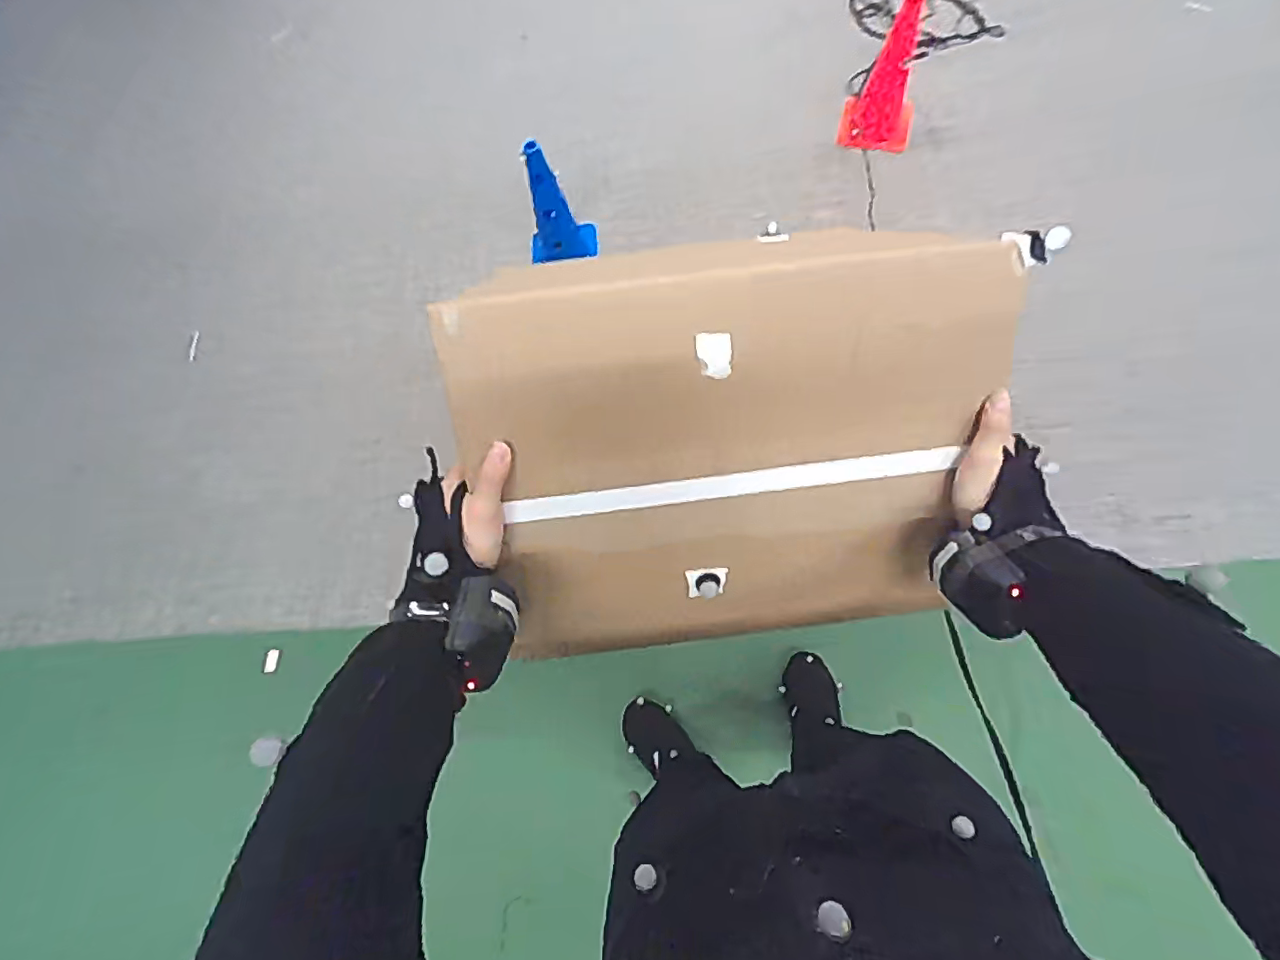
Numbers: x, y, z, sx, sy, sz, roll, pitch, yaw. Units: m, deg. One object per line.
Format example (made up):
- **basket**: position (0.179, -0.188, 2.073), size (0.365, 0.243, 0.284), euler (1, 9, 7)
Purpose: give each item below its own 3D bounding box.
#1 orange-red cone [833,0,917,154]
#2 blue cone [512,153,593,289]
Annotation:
- **orange-red cone**: position (0.684, -1.131, 1.487), size (0.199, 0.360, 0.198), euler (14, 74, 11)
- **blue cone**: position (-0.258, -0.719, 1.479), size (0.192, 0.380, 0.193), euler (-5, 69, 6)
